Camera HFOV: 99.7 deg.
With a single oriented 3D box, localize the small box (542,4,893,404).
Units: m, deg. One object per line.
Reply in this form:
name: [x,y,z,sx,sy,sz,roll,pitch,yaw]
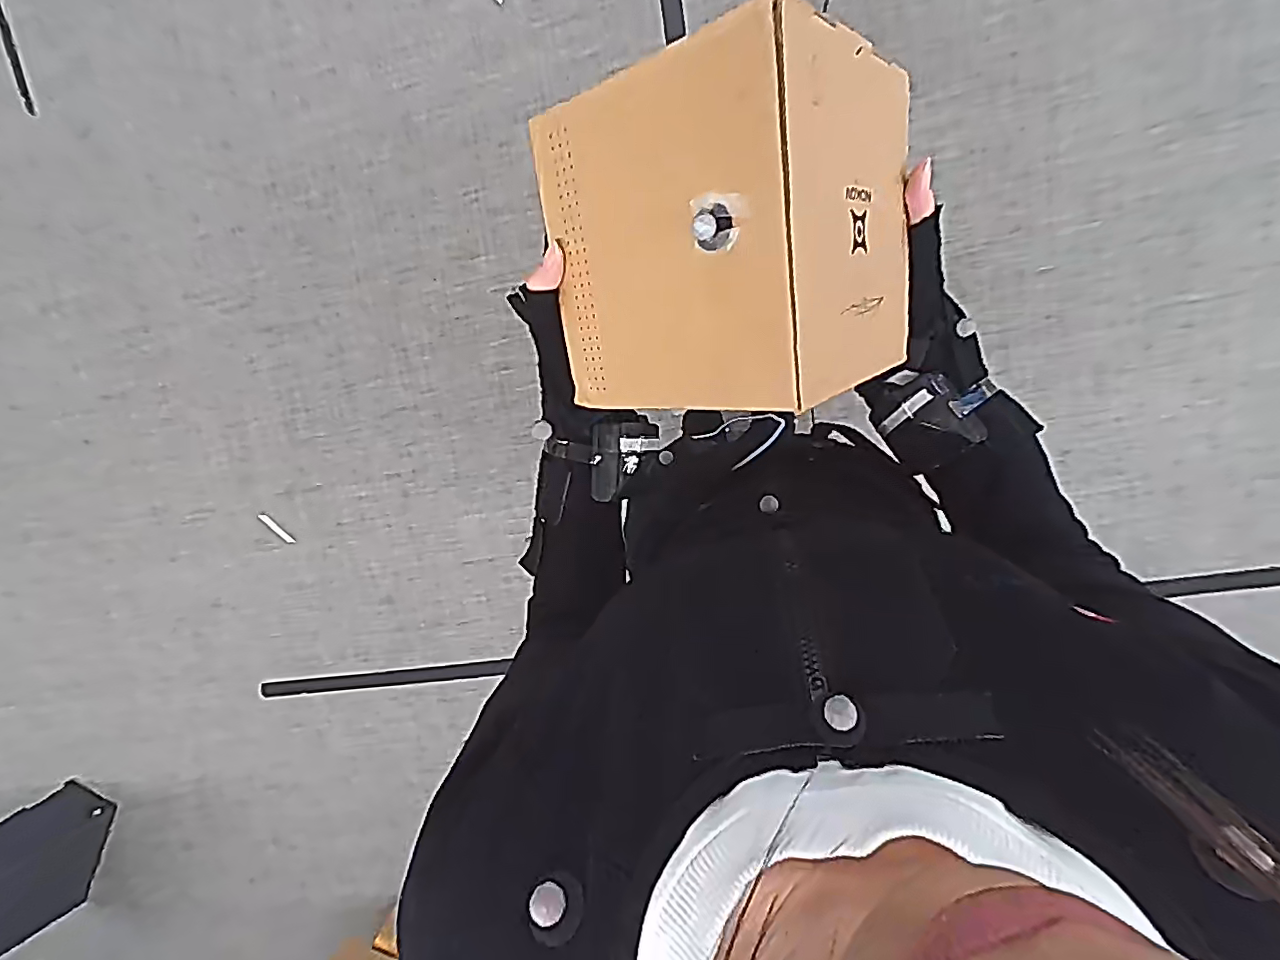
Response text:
small box: [0.055,-0.151,0.361,0.176,0.168,0.179,7,112,41]
